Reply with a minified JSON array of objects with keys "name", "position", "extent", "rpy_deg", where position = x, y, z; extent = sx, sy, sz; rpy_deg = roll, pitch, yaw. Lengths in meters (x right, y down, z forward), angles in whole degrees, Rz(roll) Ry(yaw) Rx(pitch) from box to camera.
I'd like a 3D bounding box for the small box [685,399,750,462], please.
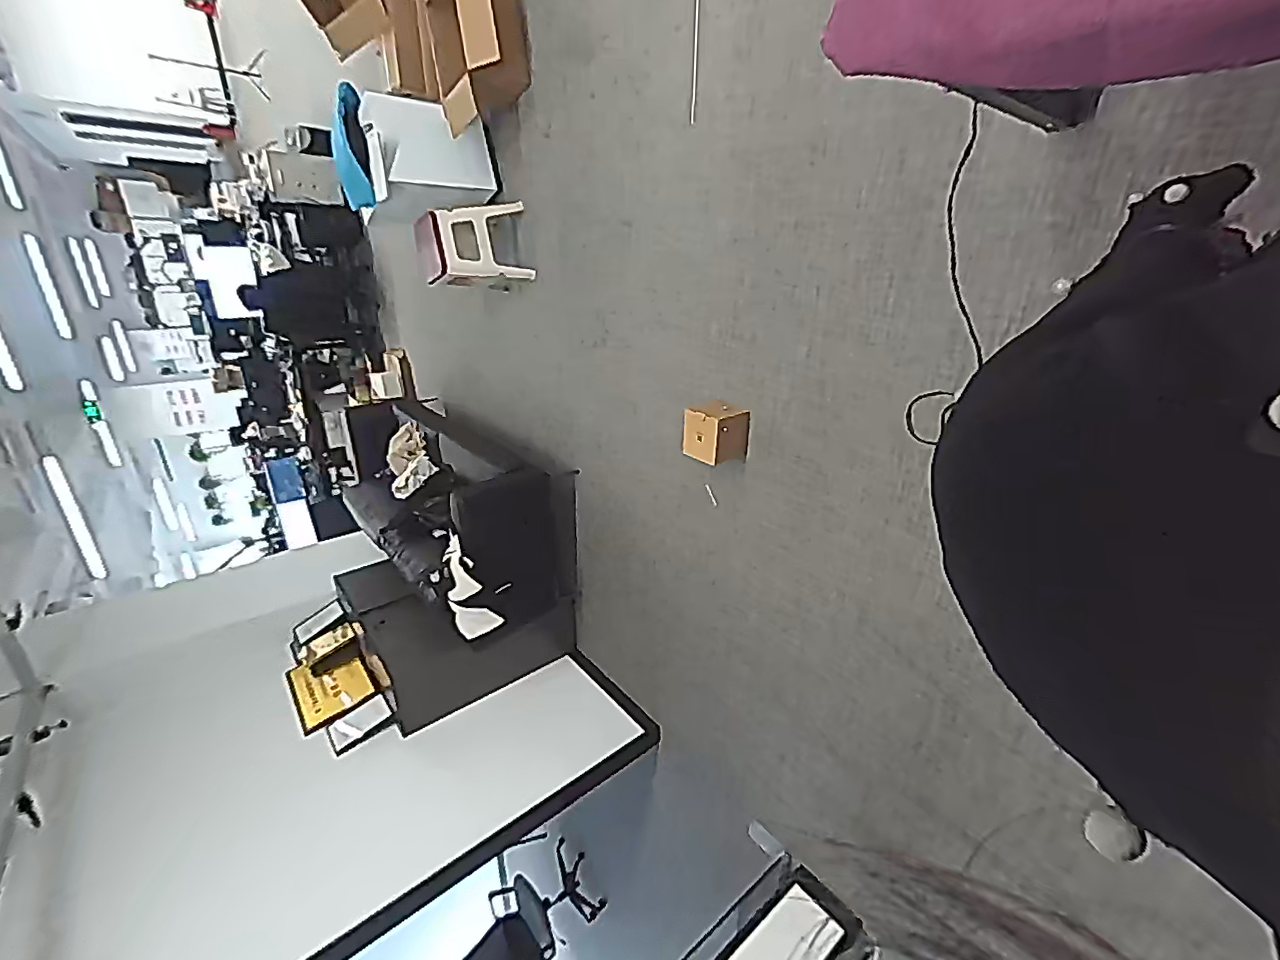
[{"name":"small box","position":[0.285,-0.184,1.978],"extent":[0.168,0.176,0.179],"rpy_deg":[27,124,45]}]
